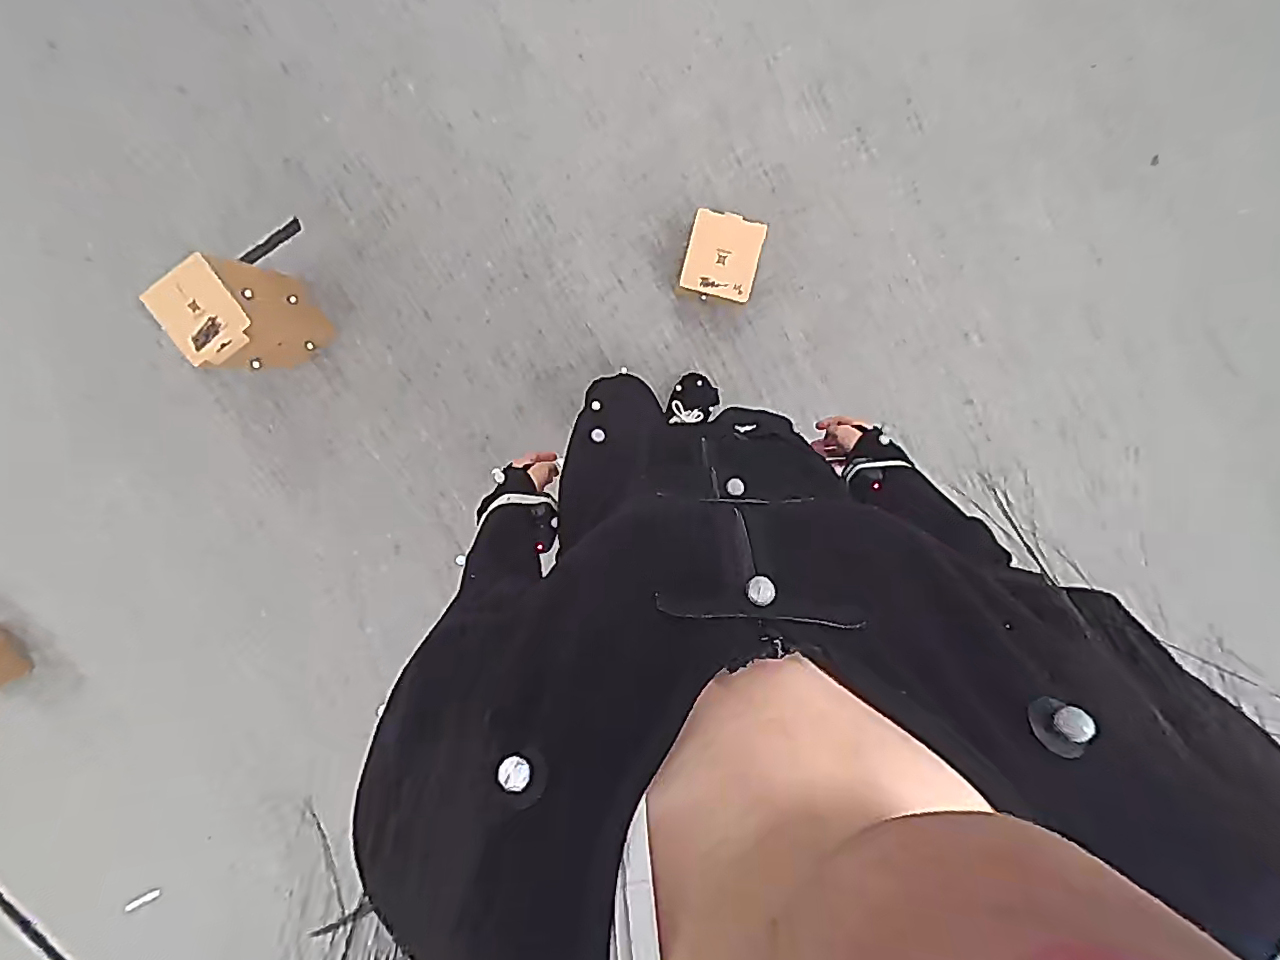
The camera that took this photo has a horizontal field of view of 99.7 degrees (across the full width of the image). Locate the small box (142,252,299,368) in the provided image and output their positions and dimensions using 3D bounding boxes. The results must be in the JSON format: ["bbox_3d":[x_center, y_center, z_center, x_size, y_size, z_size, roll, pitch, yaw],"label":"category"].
[{"bbox_3d":[-0.904,-0.364,1.187,0.168,0.176,0.179,-33,99,6],"label":"small box"}]

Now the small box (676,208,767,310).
[{"bbox_3d":[0.187,-0.524,1.309,0.168,0.176,0.179,14,102,-3],"label":"small box"}]

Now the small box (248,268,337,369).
[{"bbox_3d":[-0.908,-0.396,1.349,0.168,0.176,0.179,-34,98,6],"label":"small box"}]
